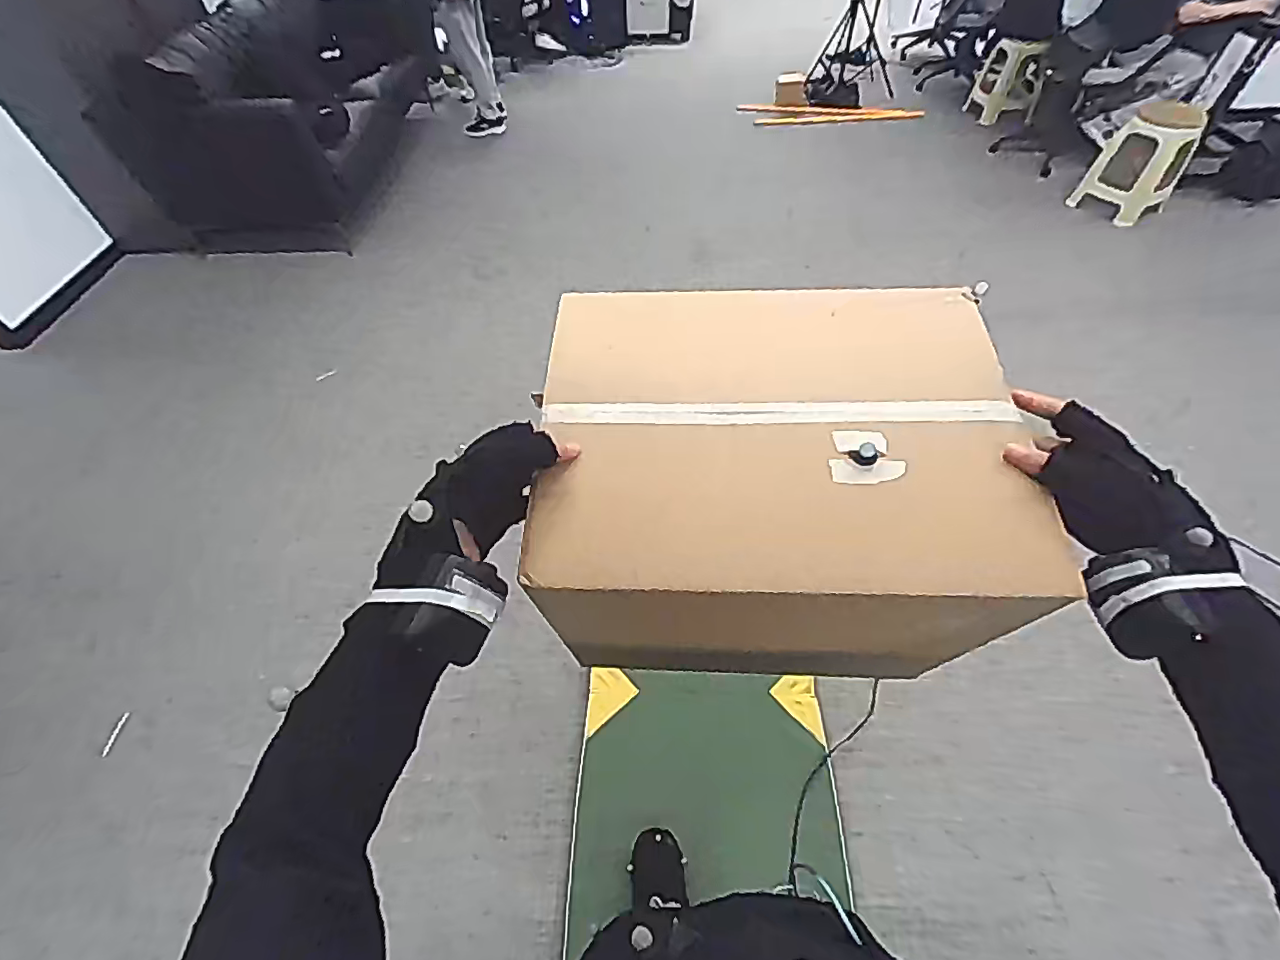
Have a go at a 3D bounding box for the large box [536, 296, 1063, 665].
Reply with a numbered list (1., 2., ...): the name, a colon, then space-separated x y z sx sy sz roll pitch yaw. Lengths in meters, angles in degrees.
1. large box: 0.123 0.019 0.608 0.408 0.320 0.320 1 61 3
